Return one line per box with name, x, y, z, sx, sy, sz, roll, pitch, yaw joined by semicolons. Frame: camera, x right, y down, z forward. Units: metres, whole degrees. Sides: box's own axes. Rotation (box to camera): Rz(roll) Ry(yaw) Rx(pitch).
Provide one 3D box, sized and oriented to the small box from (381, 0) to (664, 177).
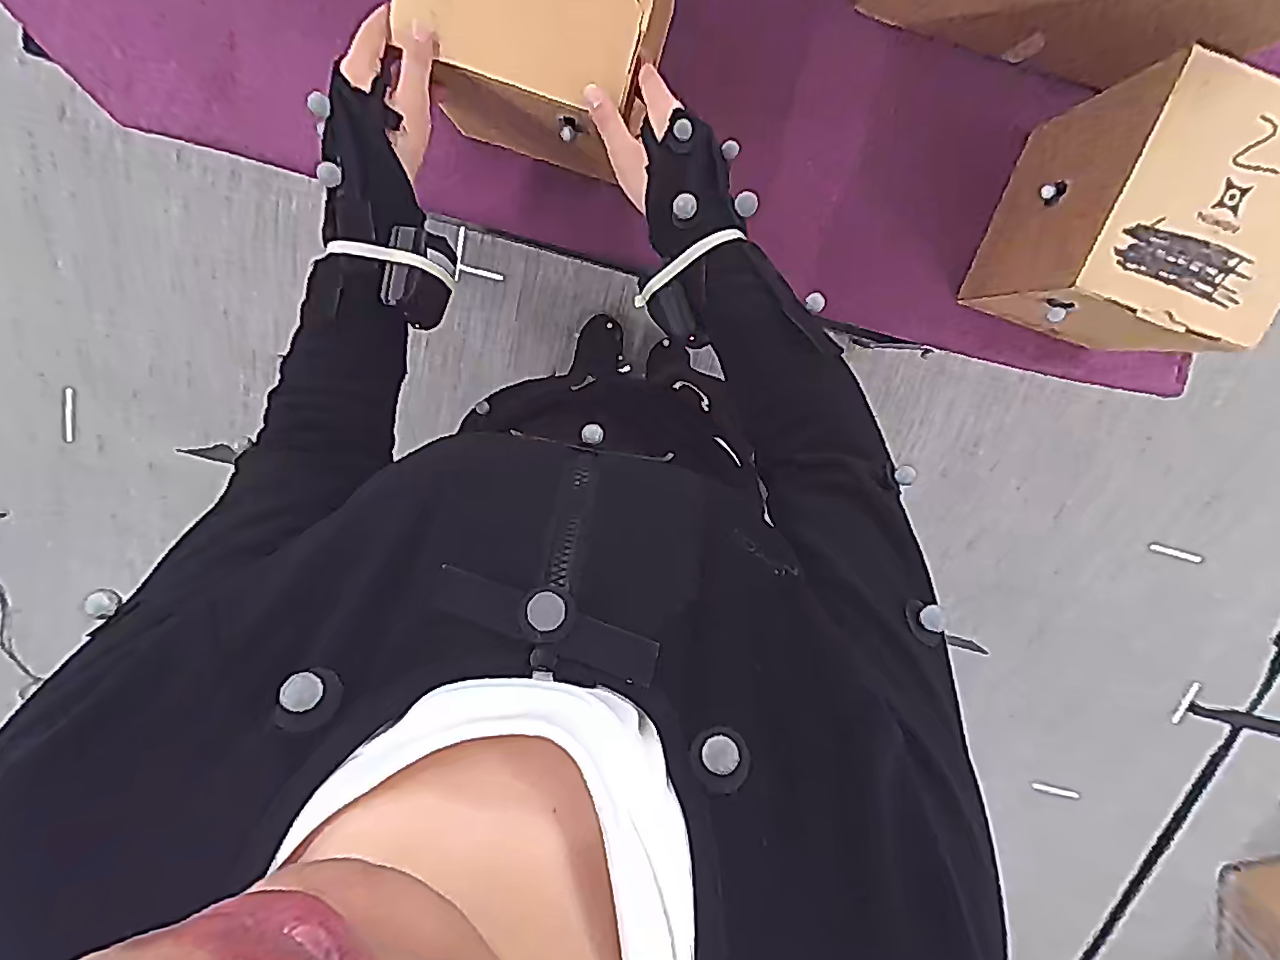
small box;-0.081;-0.382;0.452;0.179;0.176;0.168;15;103;-5
